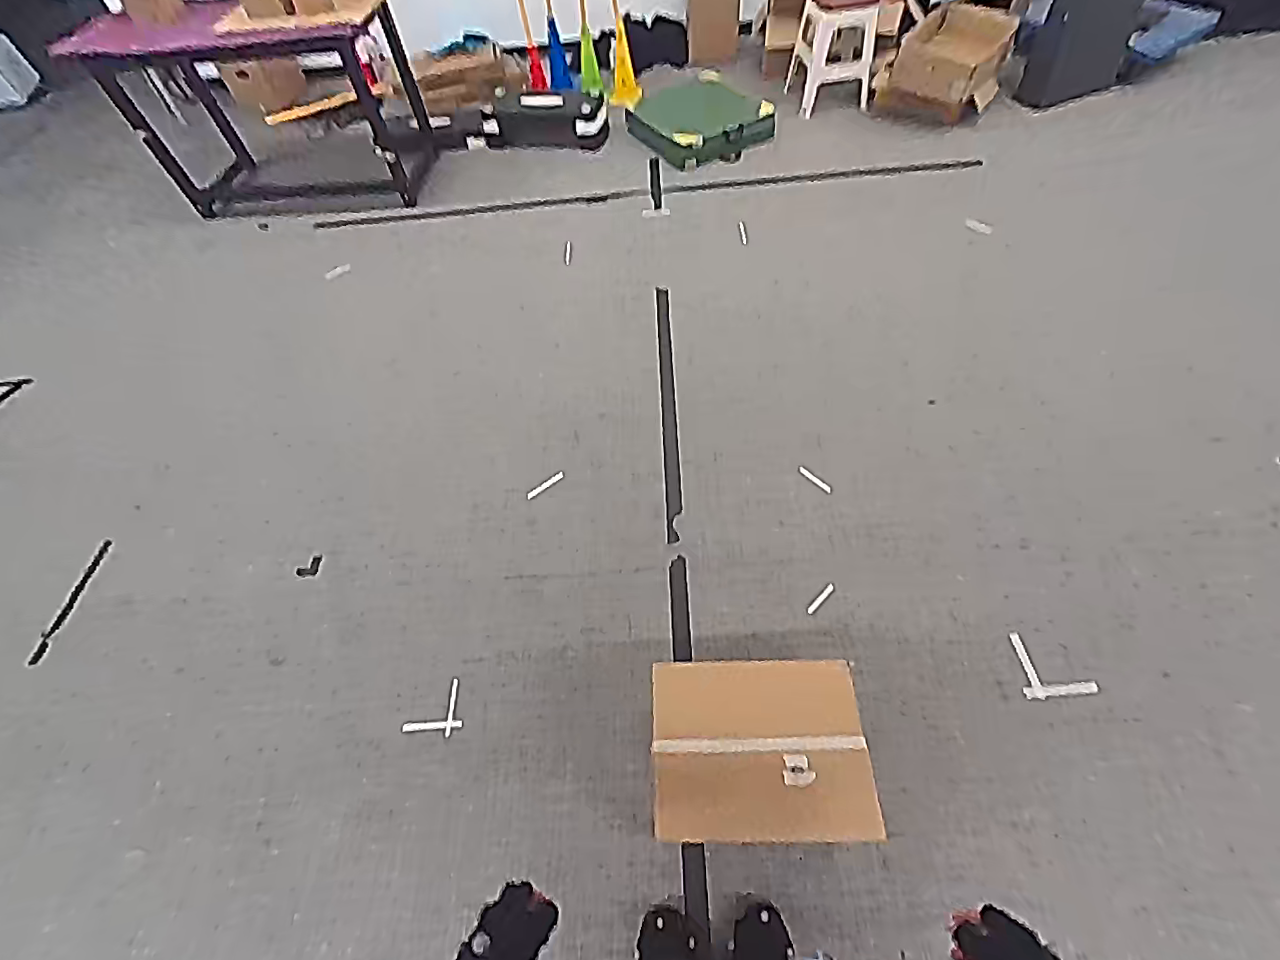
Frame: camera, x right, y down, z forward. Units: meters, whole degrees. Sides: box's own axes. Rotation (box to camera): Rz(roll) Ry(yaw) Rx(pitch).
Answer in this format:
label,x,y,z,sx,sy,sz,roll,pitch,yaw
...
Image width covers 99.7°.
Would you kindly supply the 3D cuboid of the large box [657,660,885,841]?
label,x,y,z,sx,sy,sz,roll,pitch,yaw
large box,0.246,0.591,1.171,0.408,0.320,0.320,-2,57,3
